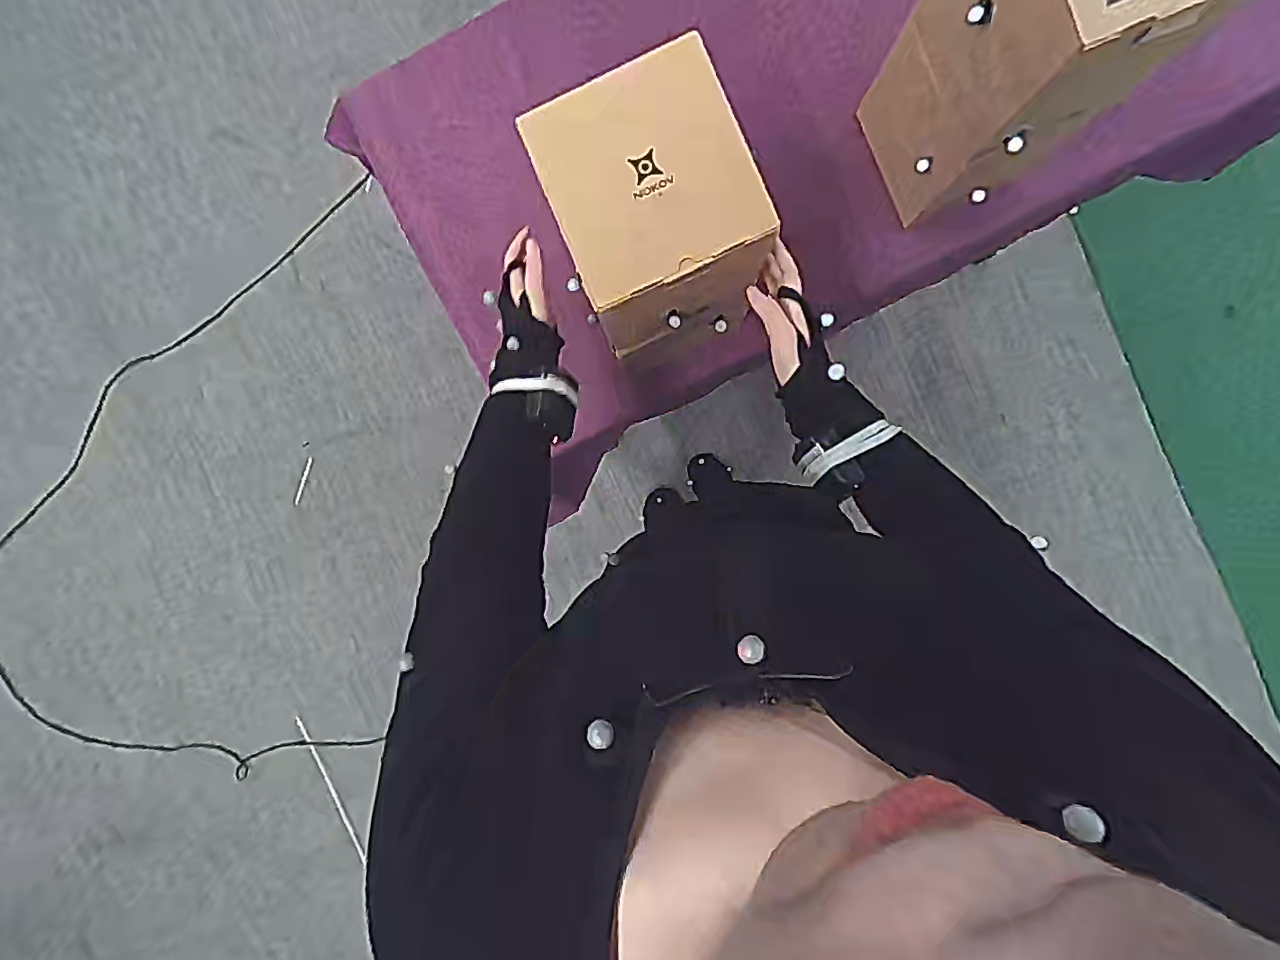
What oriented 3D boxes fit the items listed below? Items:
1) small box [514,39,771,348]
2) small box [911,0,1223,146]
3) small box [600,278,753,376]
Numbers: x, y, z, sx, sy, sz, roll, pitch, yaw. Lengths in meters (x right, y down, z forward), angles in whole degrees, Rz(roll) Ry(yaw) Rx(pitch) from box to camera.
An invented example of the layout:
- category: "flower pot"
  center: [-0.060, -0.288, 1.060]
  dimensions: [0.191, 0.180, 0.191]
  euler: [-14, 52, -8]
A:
- category: "small box"
  center: [0.004, -0.252, 0.524]
  dimensions: [0.168, 0.176, 0.179]
  euler: [-24, 91, 4]
- category: "small box"
  center: [0.382, -0.444, 0.490]
  dimensions: [0.168, 0.176, 0.179]
  euler: [-21, 90, 4]
- category: "small box"
  center: [0.022, -0.249, 0.687]
  dimensions: [0.179, 0.176, 0.168]
  euler: [-24, 89, 4]
